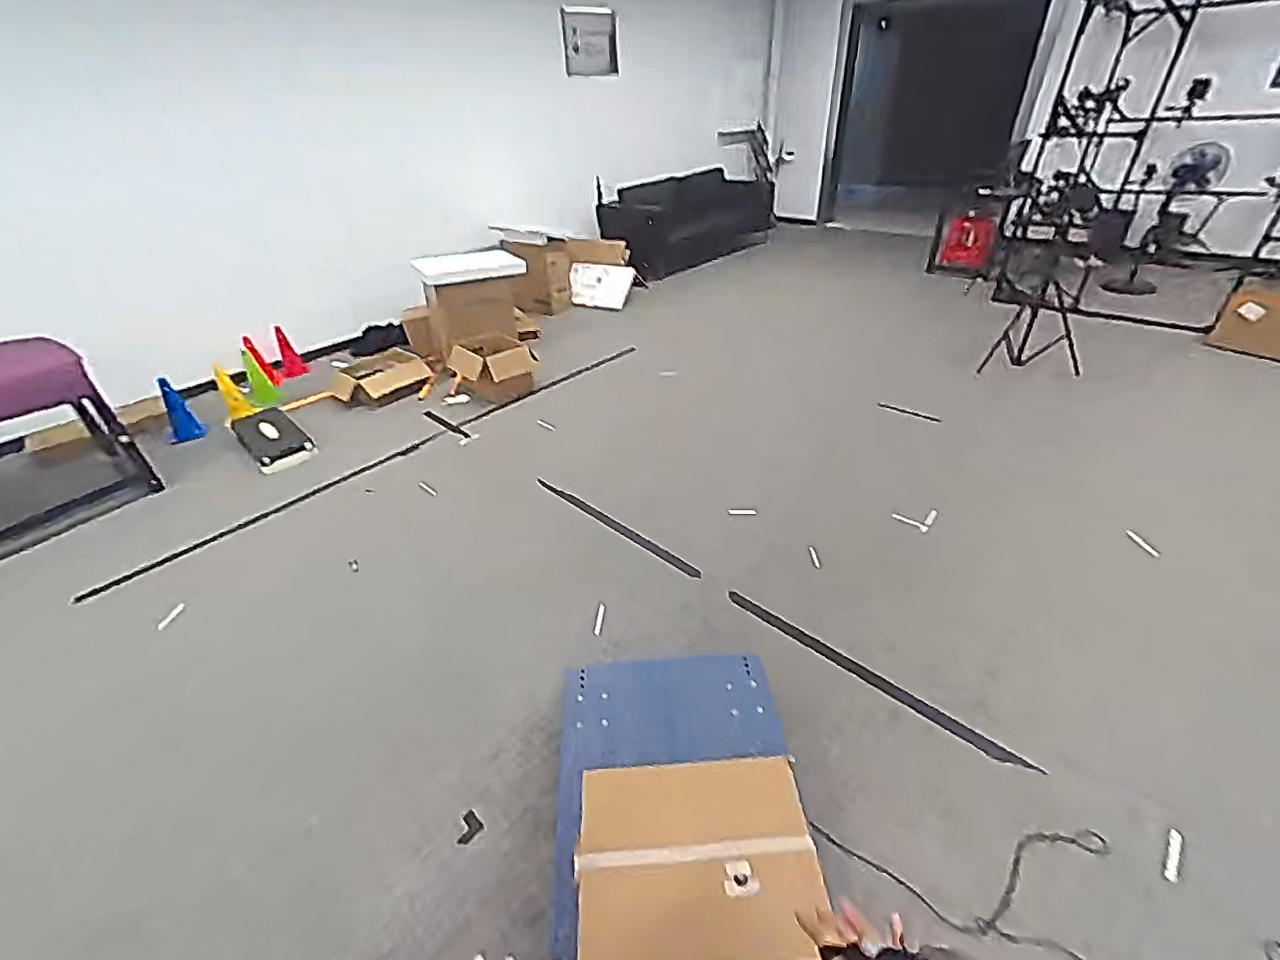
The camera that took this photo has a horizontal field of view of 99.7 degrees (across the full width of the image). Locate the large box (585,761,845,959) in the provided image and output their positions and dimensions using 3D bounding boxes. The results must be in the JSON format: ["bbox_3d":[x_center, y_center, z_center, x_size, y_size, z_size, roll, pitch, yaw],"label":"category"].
[{"bbox_3d":[0.107,0.776,1.013,0.408,0.320,0.320,-3,35,-2],"label":"large box"}]
